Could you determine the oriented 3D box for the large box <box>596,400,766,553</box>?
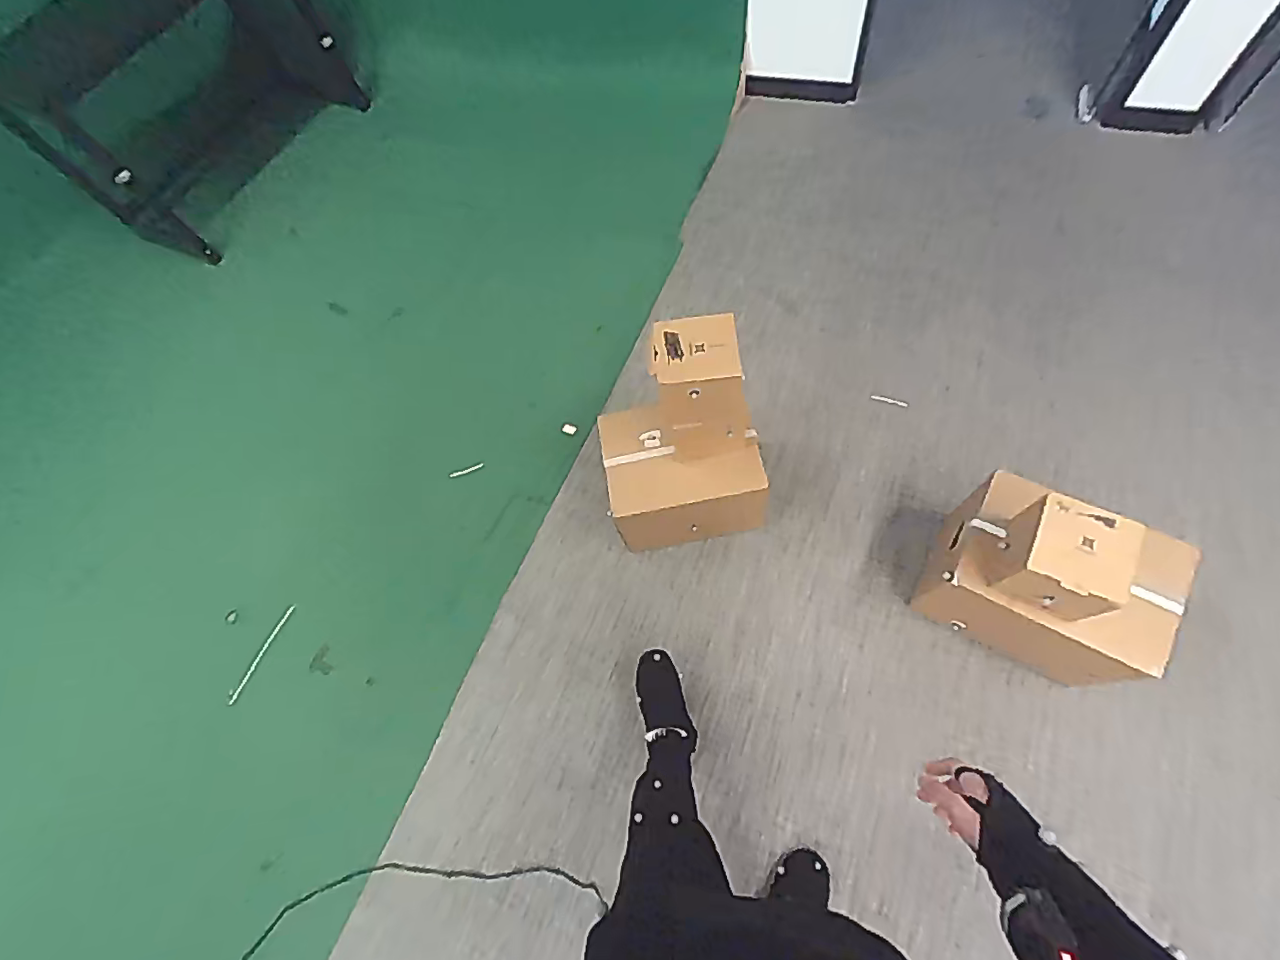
[{"bbox_3d":[0.119,-0.010,1.548,0.408,0.320,0.320,-12,63,4],"label":"large box"}]

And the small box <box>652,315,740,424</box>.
[{"bbox_3d":[0.125,-0.237,1.195,0.179,0.176,0.168,-5,65,6],"label":"small box"}]

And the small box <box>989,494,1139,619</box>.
[{"bbox_3d":[0.838,0.161,1.088,0.168,0.176,0.179,25,73,18],"label":"small box"}]
